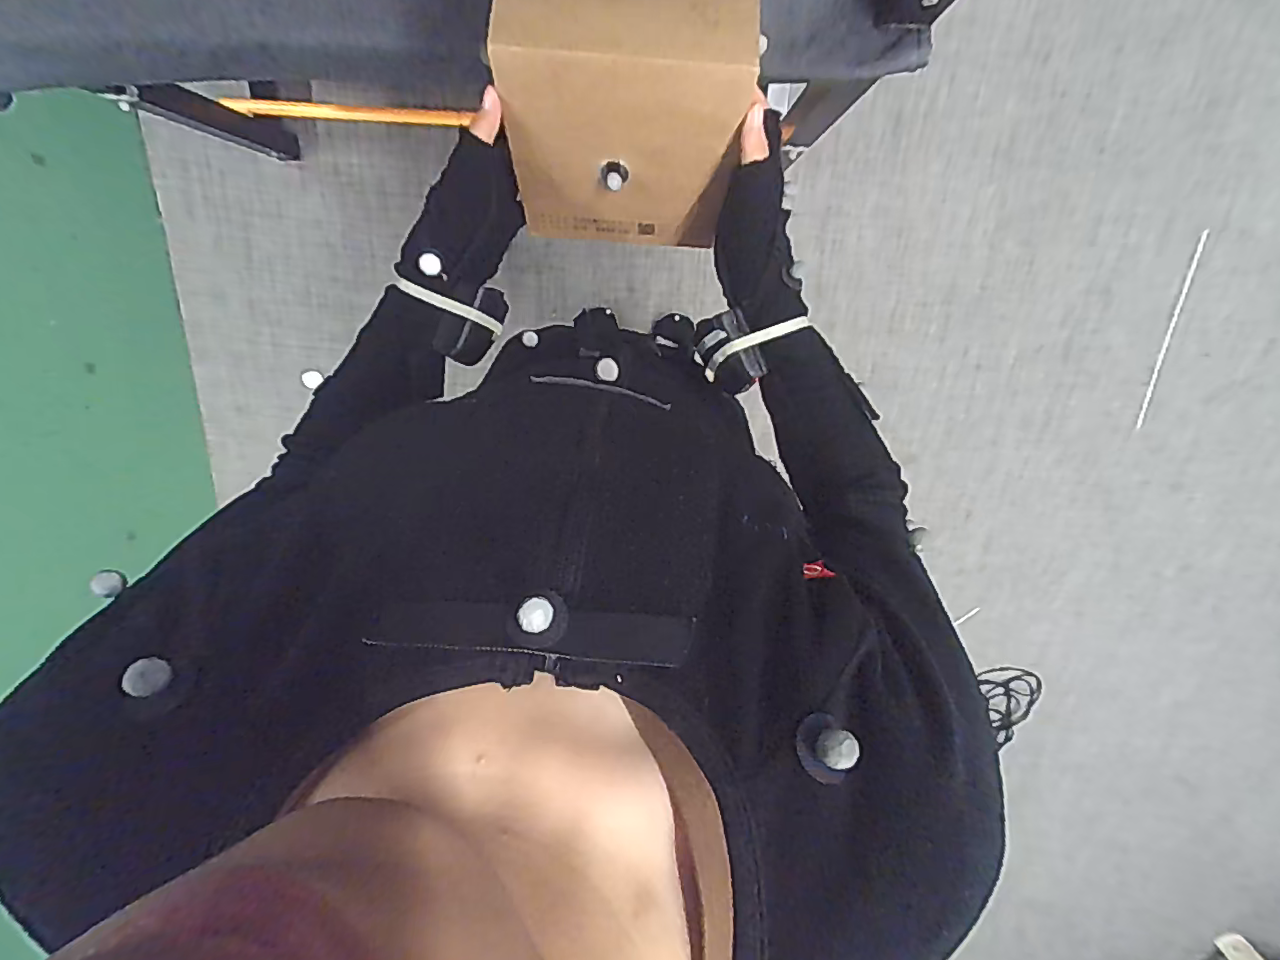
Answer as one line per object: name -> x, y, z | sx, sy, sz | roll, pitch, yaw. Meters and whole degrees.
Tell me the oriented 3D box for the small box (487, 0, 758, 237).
small box -> -0.008, -0.317, 0.419 | 0.168, 0.176, 0.179 | 4, 76, -2
